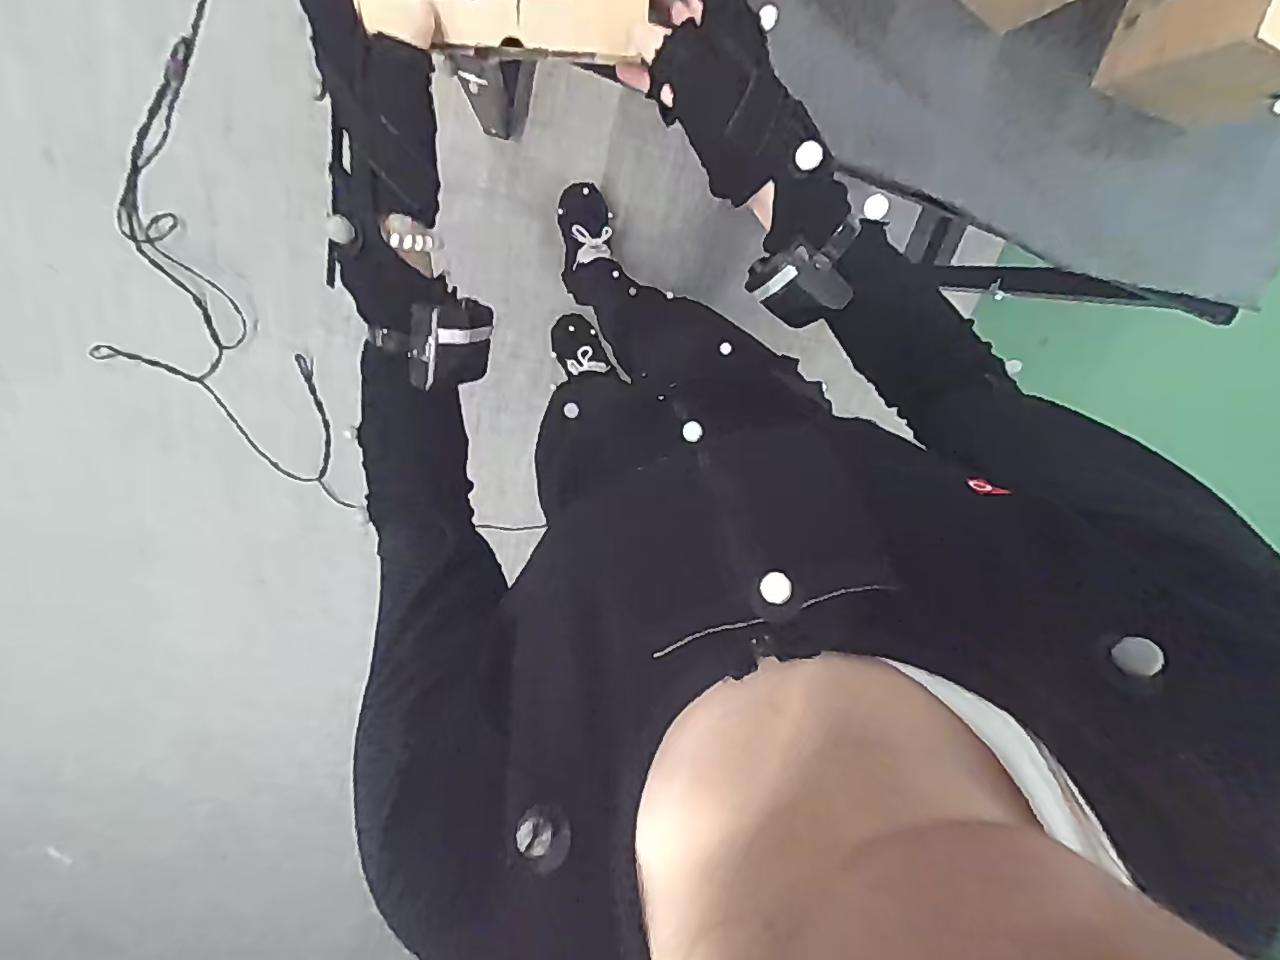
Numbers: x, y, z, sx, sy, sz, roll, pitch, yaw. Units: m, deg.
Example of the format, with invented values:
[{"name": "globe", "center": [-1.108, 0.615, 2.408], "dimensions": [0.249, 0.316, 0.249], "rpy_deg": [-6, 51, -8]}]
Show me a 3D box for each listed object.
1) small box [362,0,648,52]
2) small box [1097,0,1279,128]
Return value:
[{"name": "small box", "center": [-0.083, -0.379, 0.332], "dimensions": [0.168, 0.176, 0.179], "rpy_deg": [-4, 126, -10]}, {"name": "small box", "center": [0.662, -0.503, 0.577], "dimensions": [0.179, 0.176, 0.168], "rpy_deg": [10, 109, -14]}]
